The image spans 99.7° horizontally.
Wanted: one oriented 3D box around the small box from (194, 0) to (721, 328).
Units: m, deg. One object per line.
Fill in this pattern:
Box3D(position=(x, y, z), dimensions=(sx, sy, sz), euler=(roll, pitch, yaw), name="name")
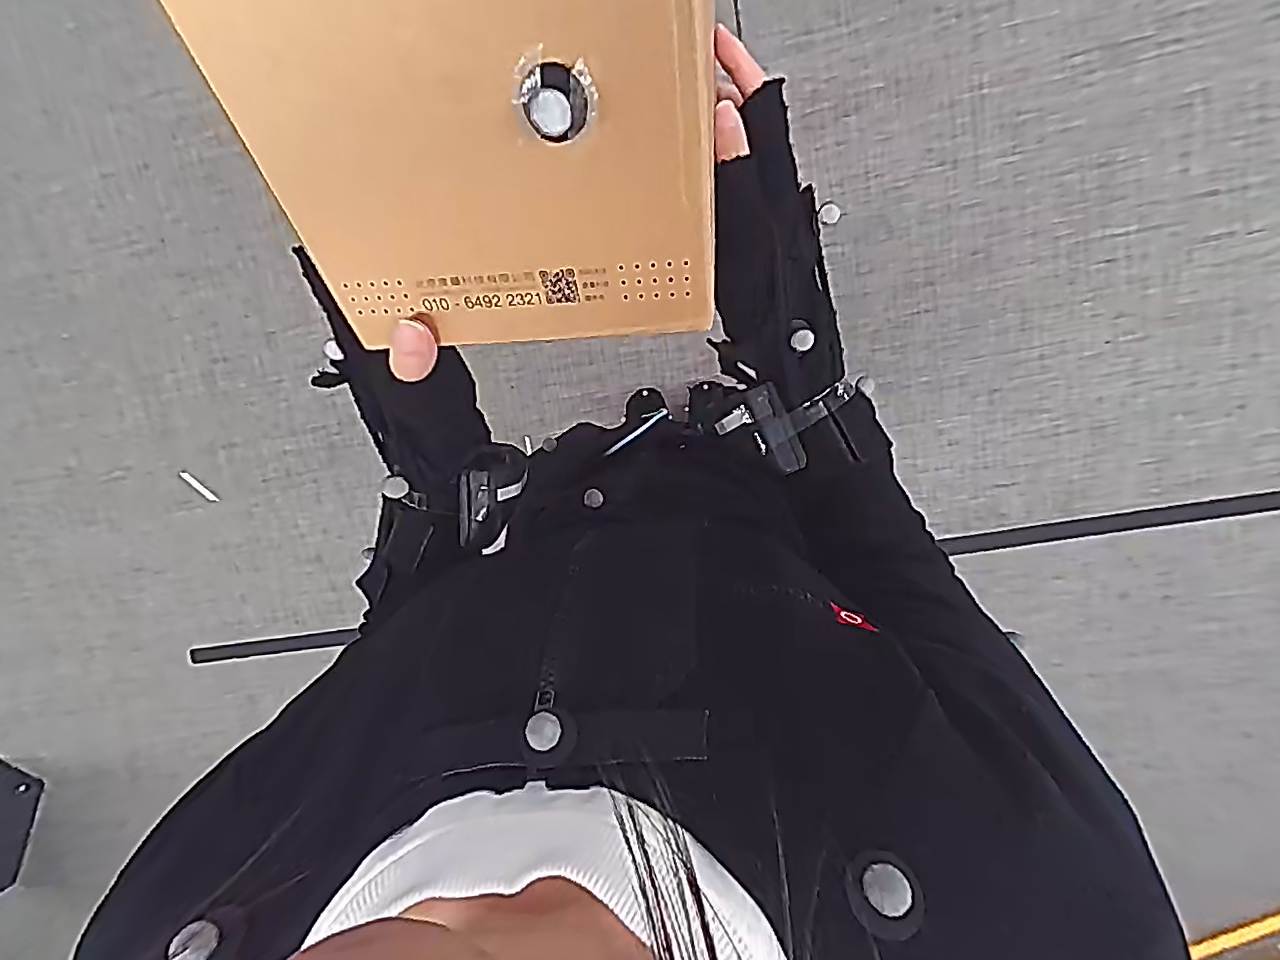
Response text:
Box3D(position=(-0.048, -0.186, 0.256), dimensions=(0.168, 0.179, 0.176), euler=(1, 138, 10), name="small box")
